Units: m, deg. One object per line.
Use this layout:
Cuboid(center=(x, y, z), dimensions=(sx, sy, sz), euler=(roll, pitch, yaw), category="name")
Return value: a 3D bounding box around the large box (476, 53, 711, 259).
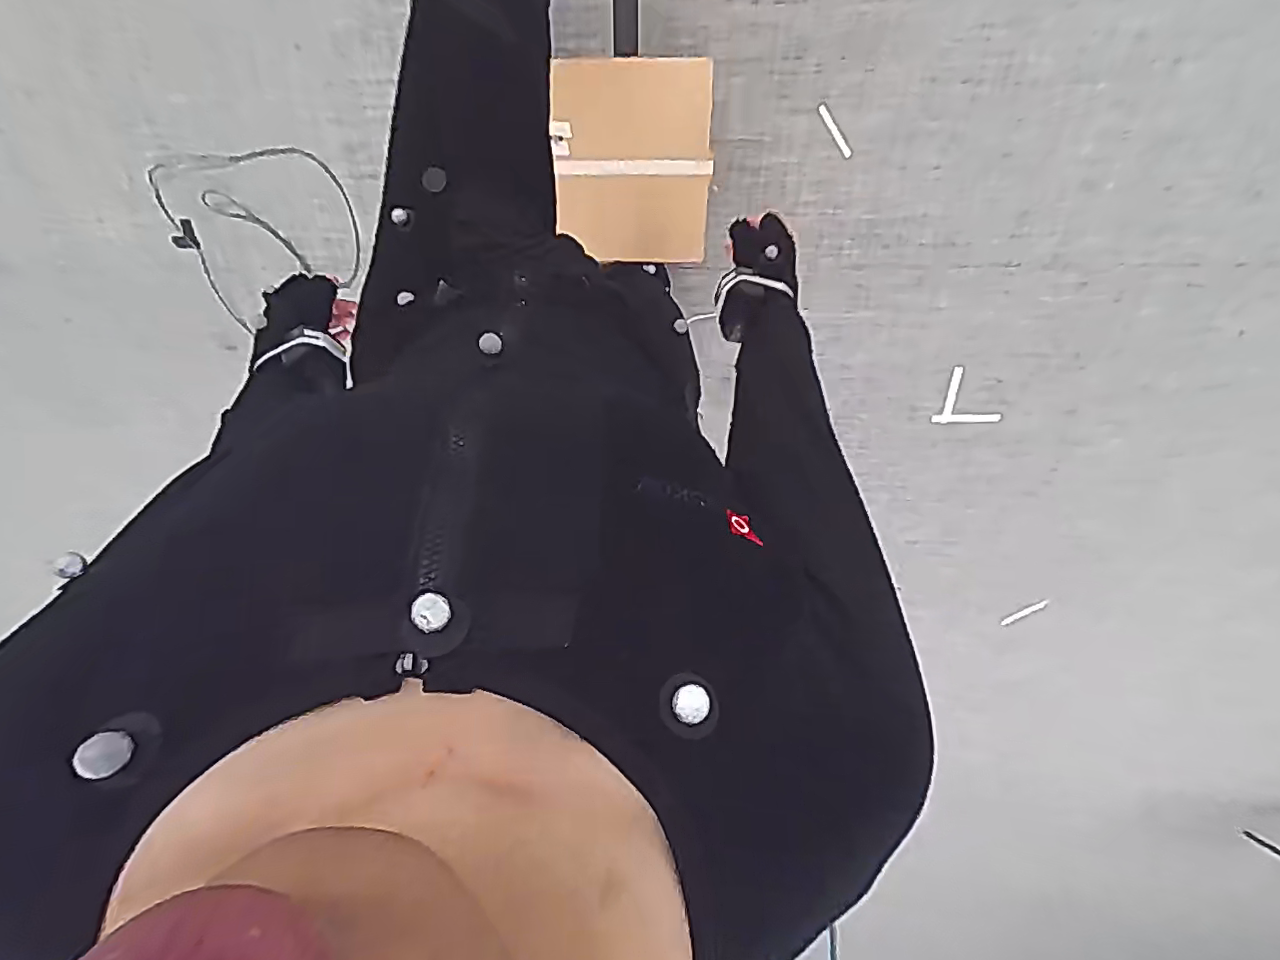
Cuboid(center=(-0.064, -0.641, 1.093), dimensions=(0.408, 0.320, 0.320), euler=(2, 121, 5), category="large box")
